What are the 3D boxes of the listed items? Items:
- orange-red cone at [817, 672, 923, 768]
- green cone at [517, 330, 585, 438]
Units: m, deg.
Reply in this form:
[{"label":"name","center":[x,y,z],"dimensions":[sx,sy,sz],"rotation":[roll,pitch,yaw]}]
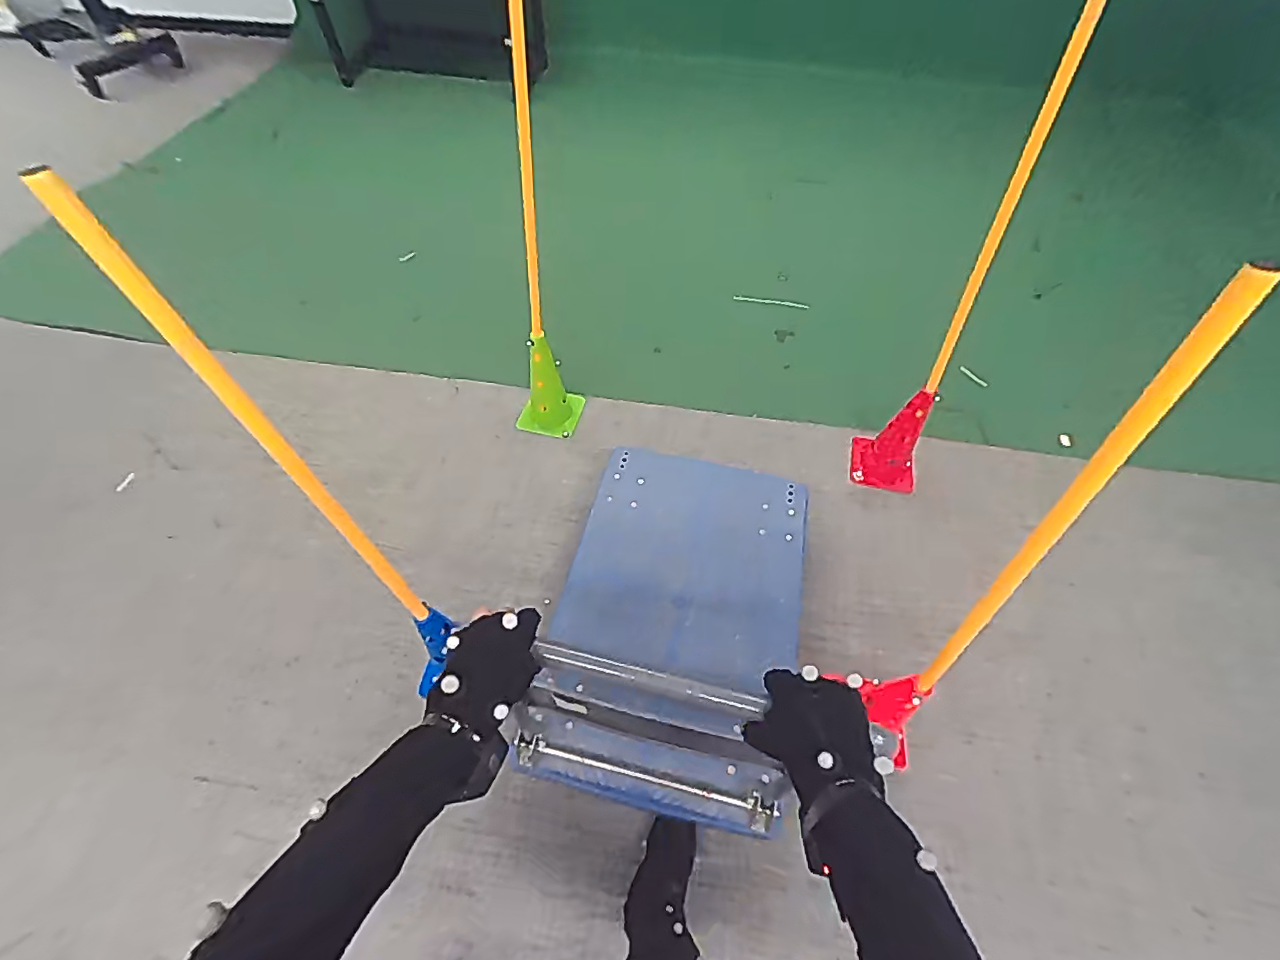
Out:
[{"label":"orange-red cone","center":[0.542,0.502,1.213],"dimensions":[0.199,0.360,0.198],"rotation":[7,55,6]},{"label":"green cone","center":[-0.312,-0.336,1.769],"dimensions":[0.202,0.368,0.200],"rotation":[12,55,8]}]
